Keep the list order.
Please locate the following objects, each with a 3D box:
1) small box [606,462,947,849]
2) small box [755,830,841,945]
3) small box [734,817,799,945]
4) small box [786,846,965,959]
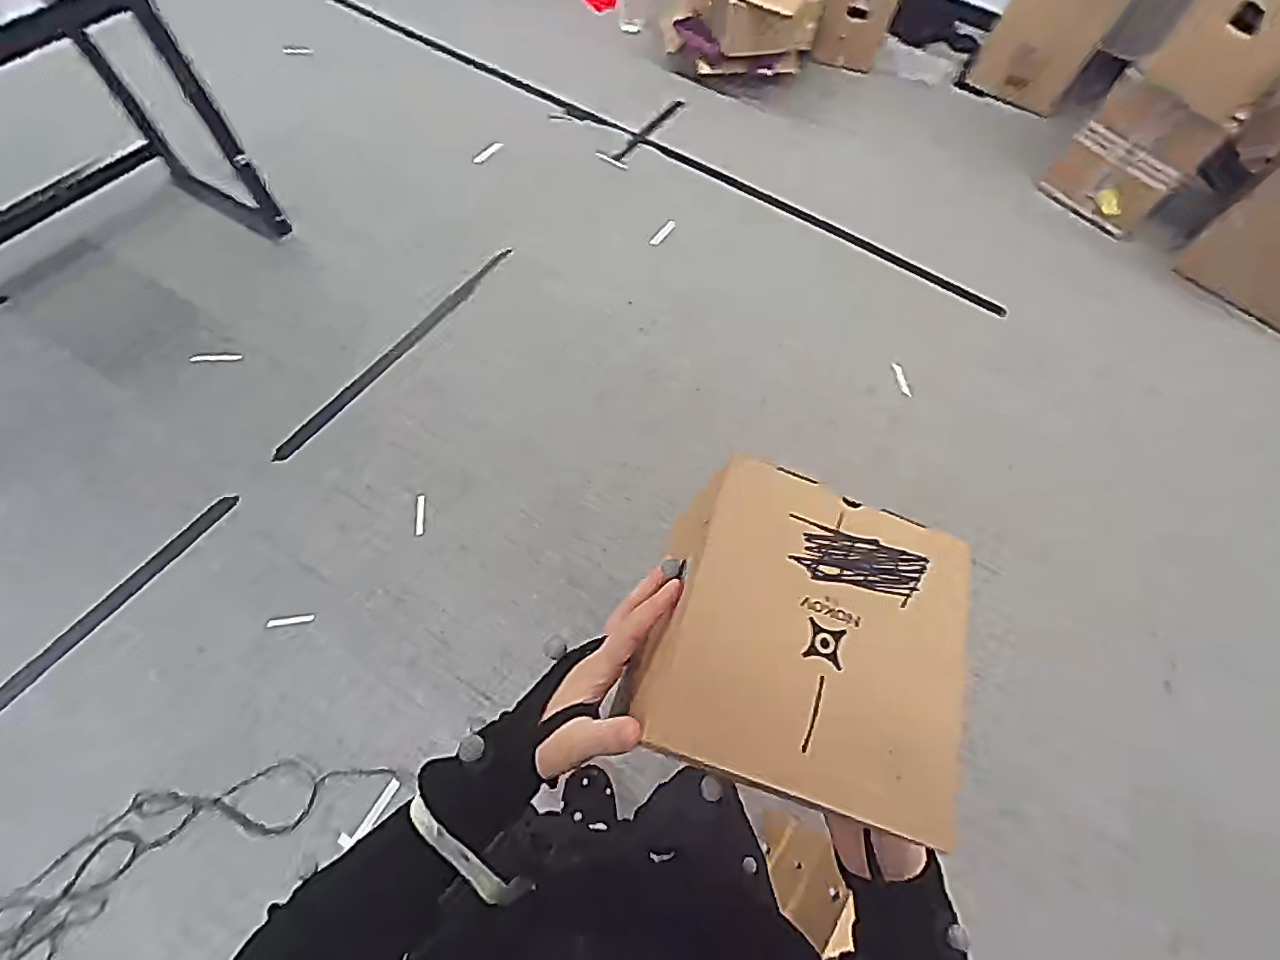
[{"bbox_3d":[0.083,0.120,0.383,0.168,0.176,0.179,21,64,-2],"label":"small box"},{"bbox_3d":[0.335,0.781,0.989,0.168,0.176,0.179,39,67,14],"label":"small box"},{"bbox_3d":[0.315,0.851,1.137,0.168,0.176,0.179,36,66,13],"label":"small box"},{"bbox_3d":[0.354,0.713,0.843,0.168,0.176,0.179,36,66,14],"label":"small box"}]
